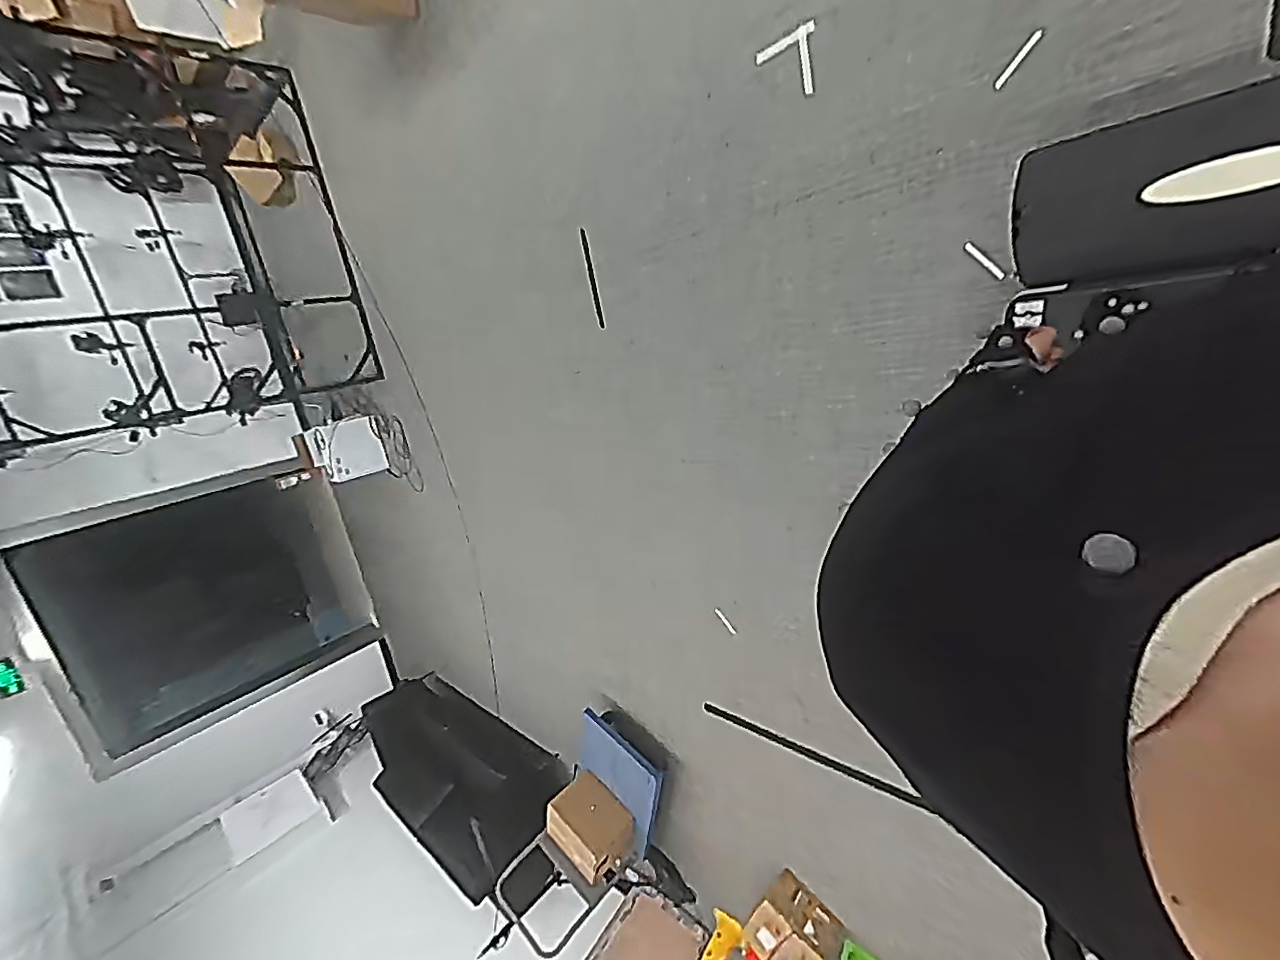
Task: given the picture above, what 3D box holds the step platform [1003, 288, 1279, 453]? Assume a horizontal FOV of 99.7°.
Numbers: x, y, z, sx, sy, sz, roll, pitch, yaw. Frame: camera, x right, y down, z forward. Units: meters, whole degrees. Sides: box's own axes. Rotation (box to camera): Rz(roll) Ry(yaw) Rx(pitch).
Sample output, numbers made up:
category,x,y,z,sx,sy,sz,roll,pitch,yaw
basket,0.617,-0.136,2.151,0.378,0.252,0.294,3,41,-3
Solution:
category,x,y,z,sx,sy,sz,roll,pitch,yaw
step platform,1.092,-0.211,1.012,0.684,0.204,0.286,12,115,45
